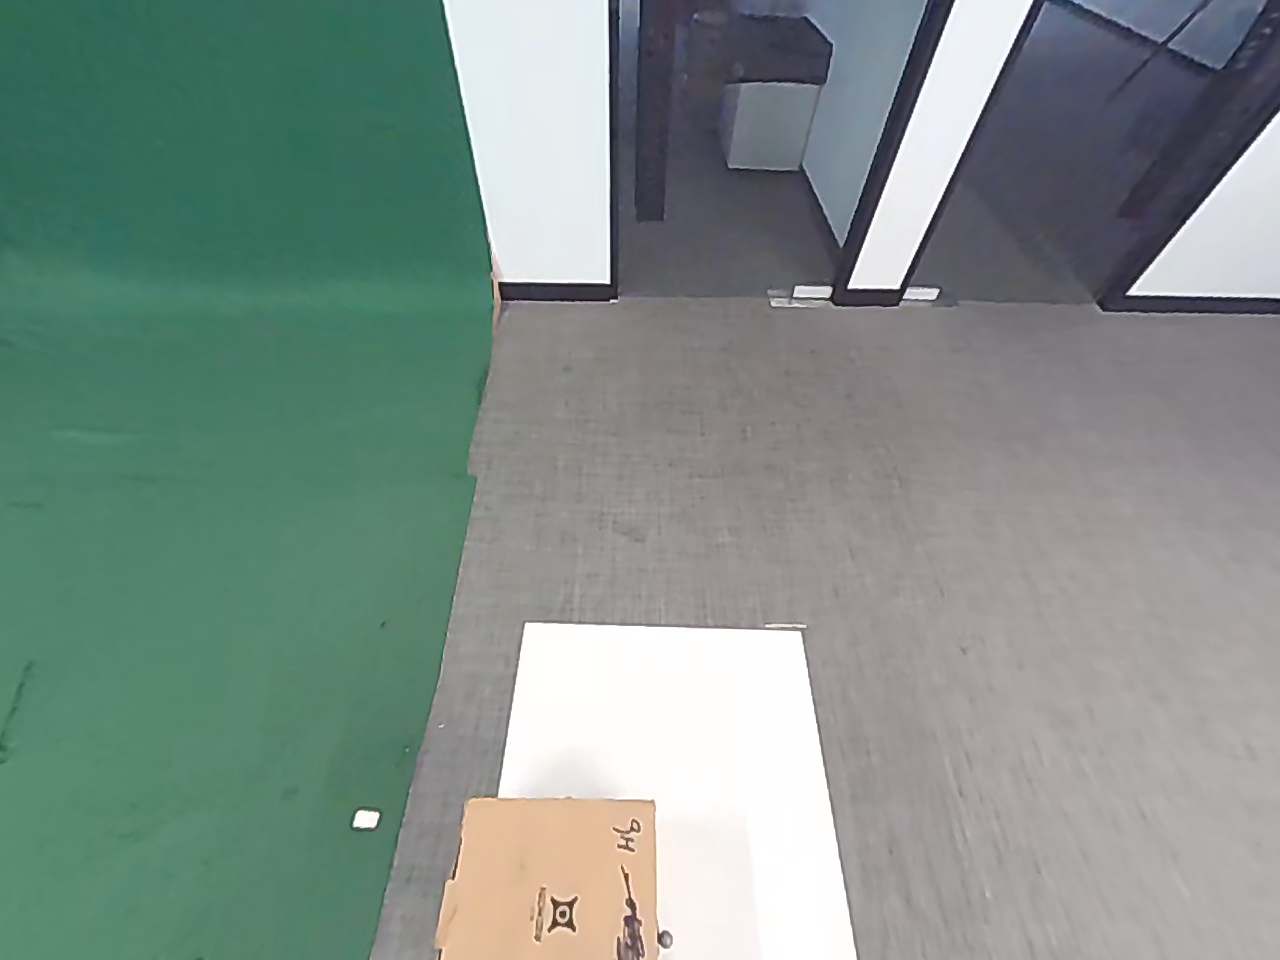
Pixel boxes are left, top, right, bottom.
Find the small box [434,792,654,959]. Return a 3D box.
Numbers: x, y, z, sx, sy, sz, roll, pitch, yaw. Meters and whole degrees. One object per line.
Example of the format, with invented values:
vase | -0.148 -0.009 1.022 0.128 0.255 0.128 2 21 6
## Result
small box | -0.078 0.402 0.509 0.179 0.176 0.168 2 53 -2
